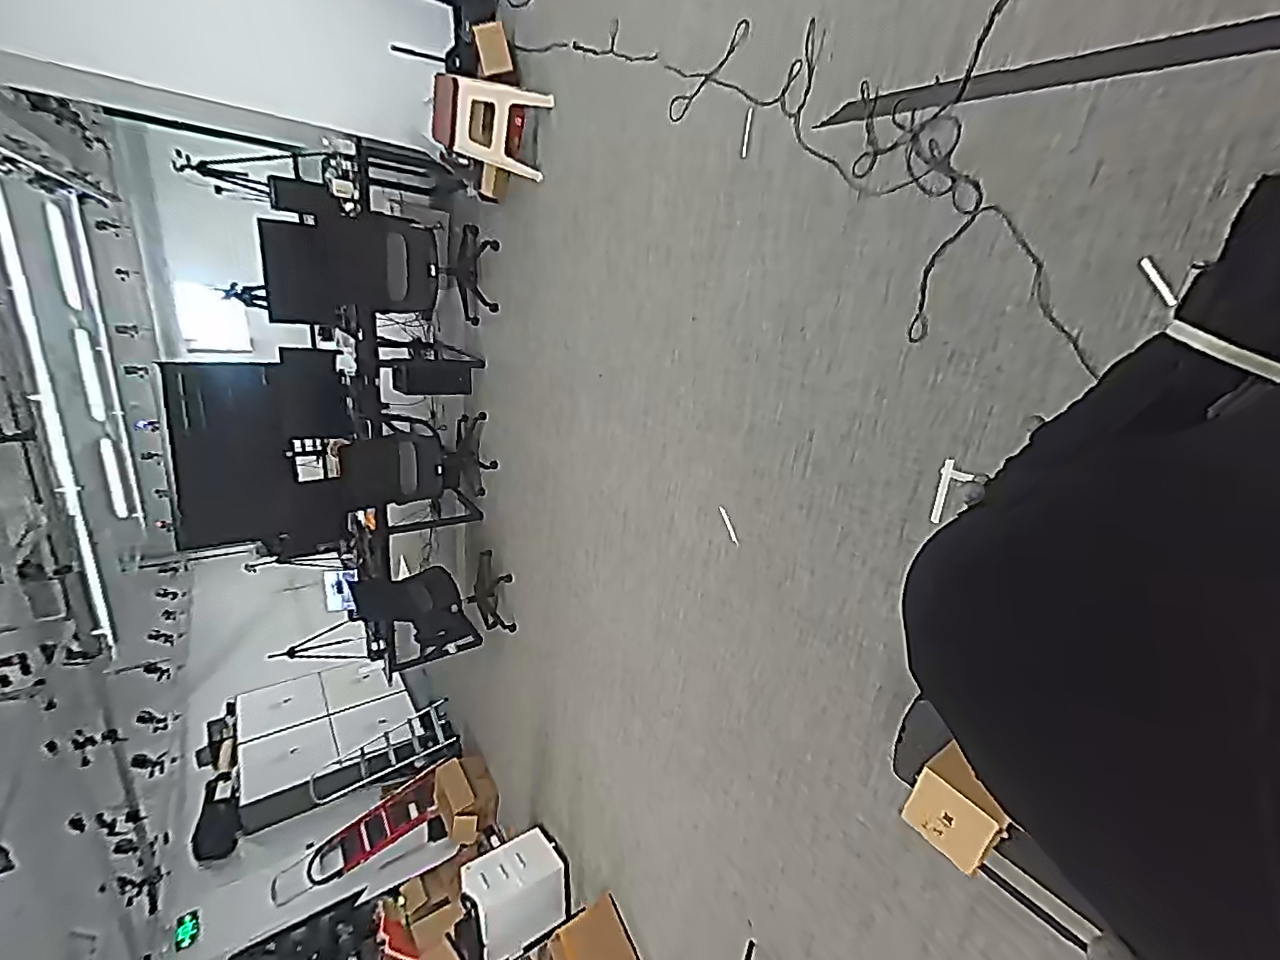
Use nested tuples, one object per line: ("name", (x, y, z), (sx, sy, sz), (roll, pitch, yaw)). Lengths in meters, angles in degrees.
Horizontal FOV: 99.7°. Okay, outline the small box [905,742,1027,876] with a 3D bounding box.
("small box", (0.761, 0.753, 1.258), (0.168, 0.176, 0.179), (34, 124, 46))
